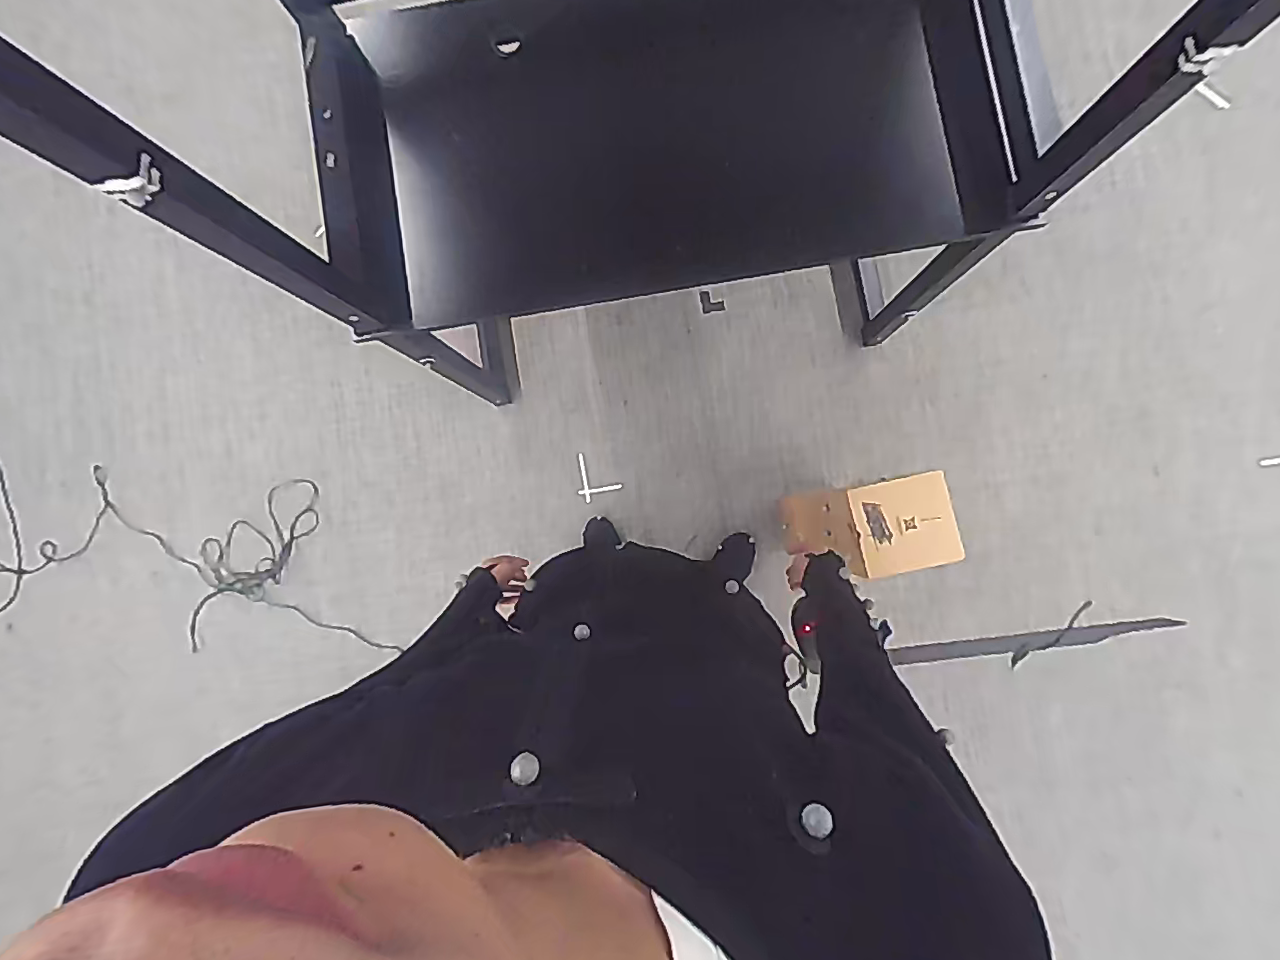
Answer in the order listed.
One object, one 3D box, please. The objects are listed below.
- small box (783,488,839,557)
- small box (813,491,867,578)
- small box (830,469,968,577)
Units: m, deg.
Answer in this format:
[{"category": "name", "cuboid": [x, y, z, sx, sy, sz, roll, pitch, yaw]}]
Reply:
[{"category": "small box", "cuboid": [0.516, 0.114, 1.519, 0.179, 0.176, 0.168, -11, 86, 4]}, {"category": "small box", "cuboid": [0.496, 0.104, 1.193, 0.168, 0.176, 0.179, -12, 86, 4]}, {"category": "small box", "cuboid": [0.477, 0.081, 1.030, 0.179, 0.176, 0.168, -13, 86, 3]}]
